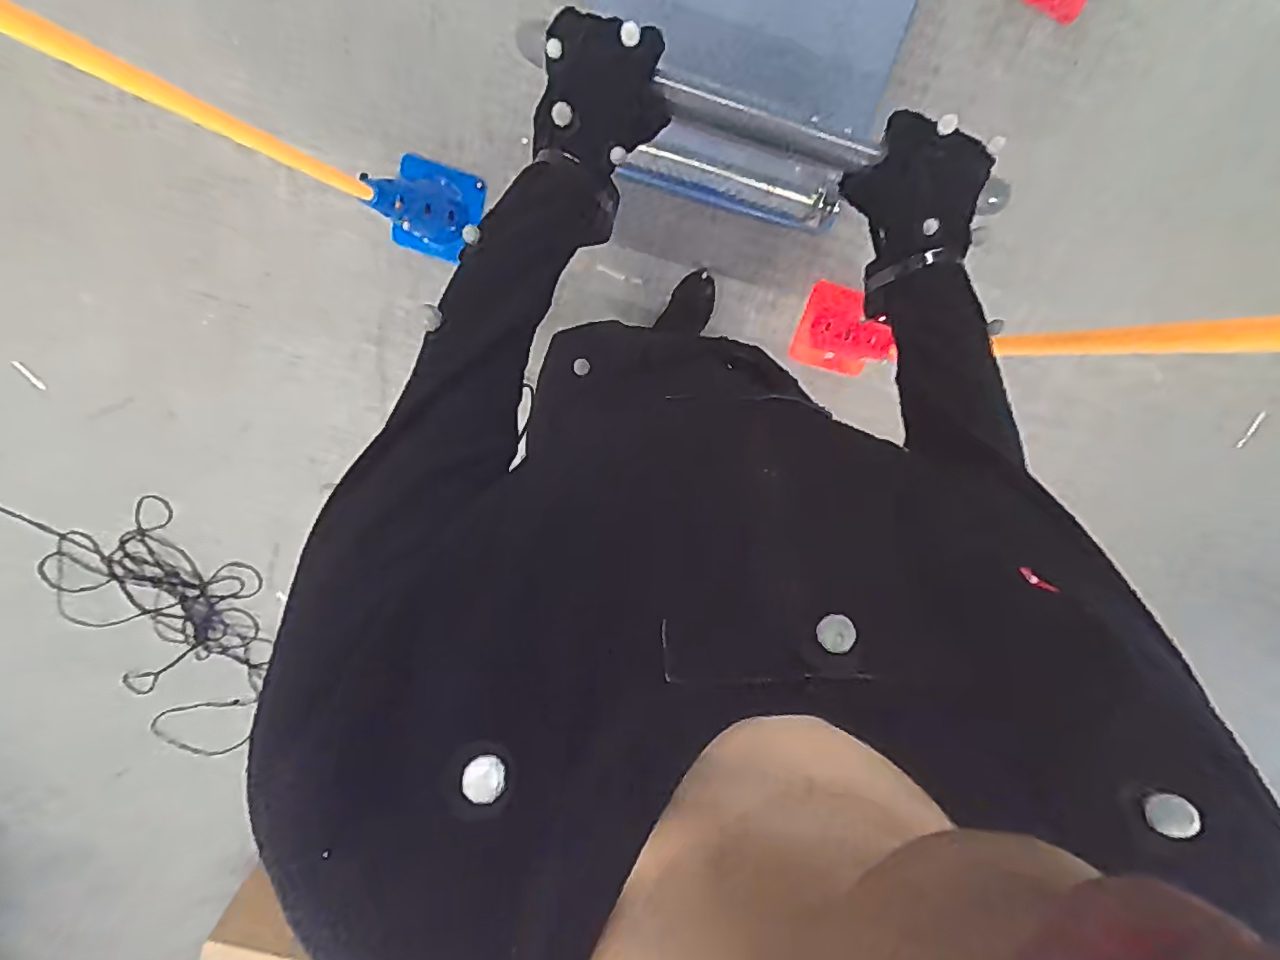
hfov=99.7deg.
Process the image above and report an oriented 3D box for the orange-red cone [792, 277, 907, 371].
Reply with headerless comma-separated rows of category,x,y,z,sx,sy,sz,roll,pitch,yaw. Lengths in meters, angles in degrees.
orange-red cone,0.500,-0.331,1.209,0.199,0.360,0.198,16,110,-4
